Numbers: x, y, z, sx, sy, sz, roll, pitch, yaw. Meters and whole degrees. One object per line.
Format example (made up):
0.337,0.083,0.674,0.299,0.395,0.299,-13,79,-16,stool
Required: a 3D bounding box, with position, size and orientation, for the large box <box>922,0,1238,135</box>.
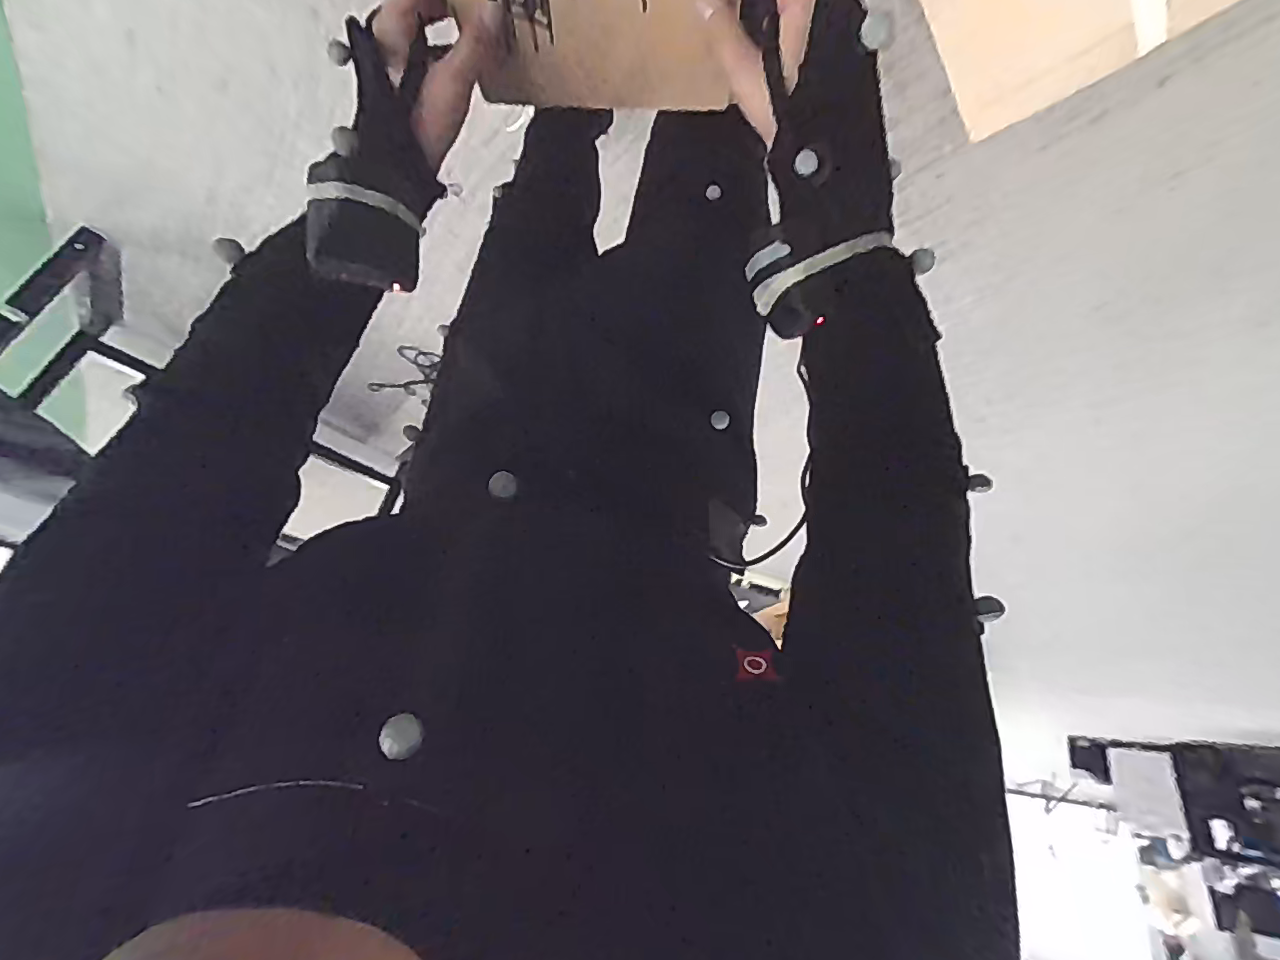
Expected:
0.392,-0.644,0.477,0.320,0.320,0.408,-14,143,41,large box
